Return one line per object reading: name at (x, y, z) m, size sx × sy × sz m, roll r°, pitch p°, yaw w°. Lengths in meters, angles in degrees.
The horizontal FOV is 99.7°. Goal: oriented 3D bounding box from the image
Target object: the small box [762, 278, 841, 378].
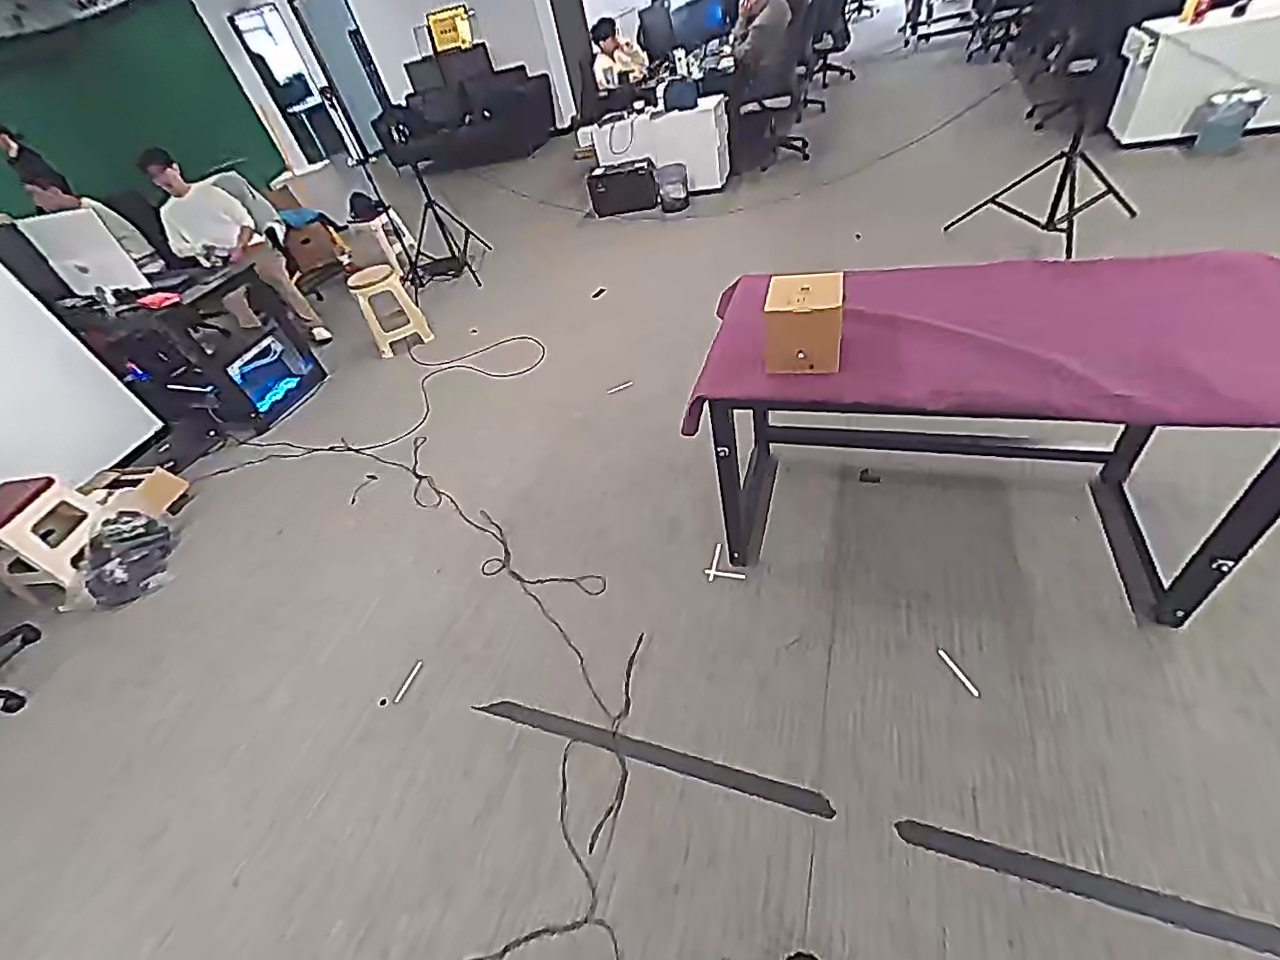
small box at (0.386, -0.363, 1.295) m, size 0.168 × 0.176 × 0.179 m, roll 3°, pitch 45°, yaw 19°
